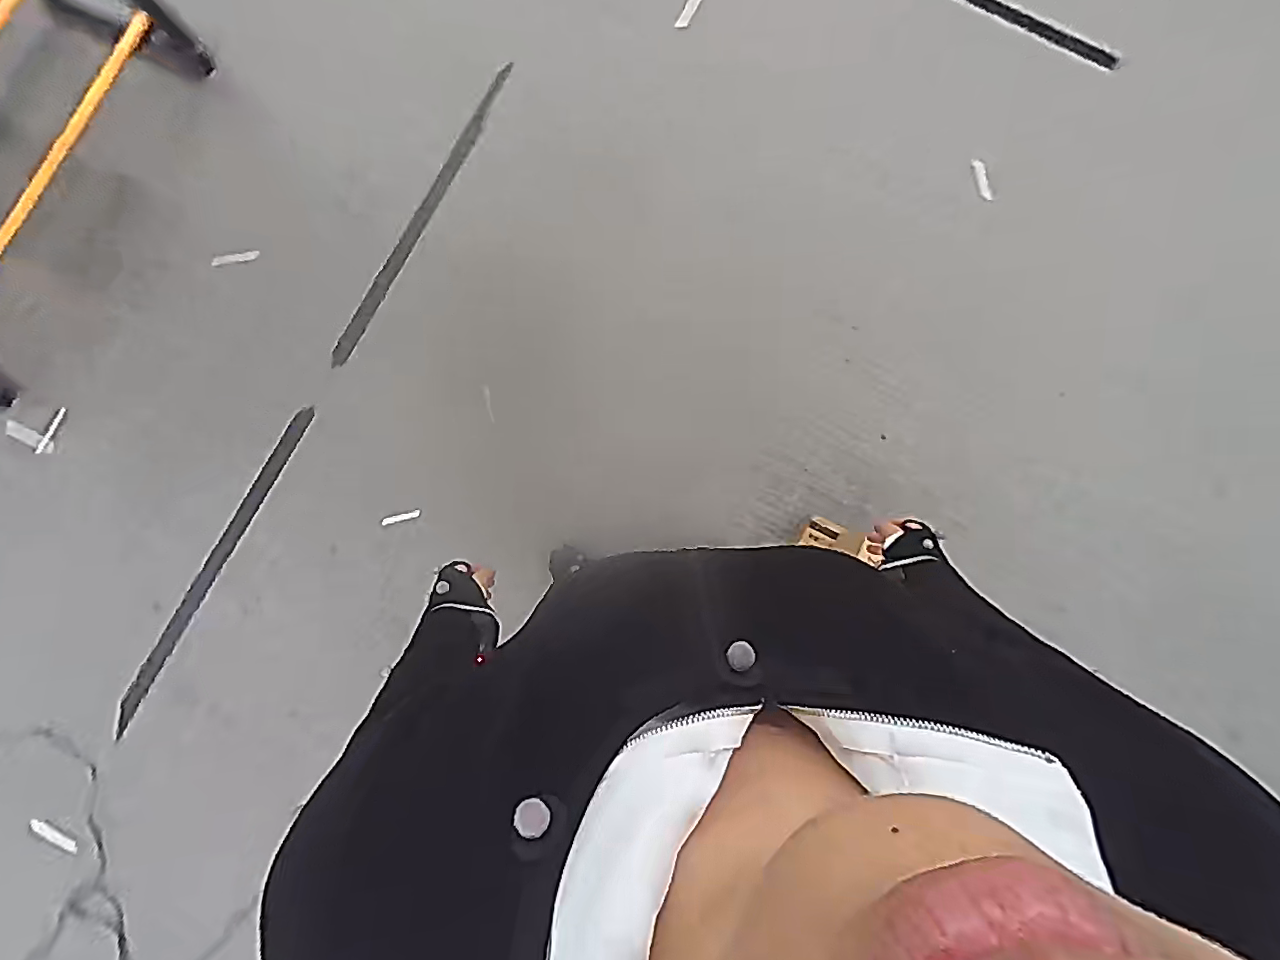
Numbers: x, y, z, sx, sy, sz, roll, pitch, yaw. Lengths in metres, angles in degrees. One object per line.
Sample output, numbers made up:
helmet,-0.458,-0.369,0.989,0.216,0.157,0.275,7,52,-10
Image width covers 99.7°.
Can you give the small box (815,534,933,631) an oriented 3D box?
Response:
small box,0.557,0.238,1.311,0.179,0.176,0.168,27,86,2
